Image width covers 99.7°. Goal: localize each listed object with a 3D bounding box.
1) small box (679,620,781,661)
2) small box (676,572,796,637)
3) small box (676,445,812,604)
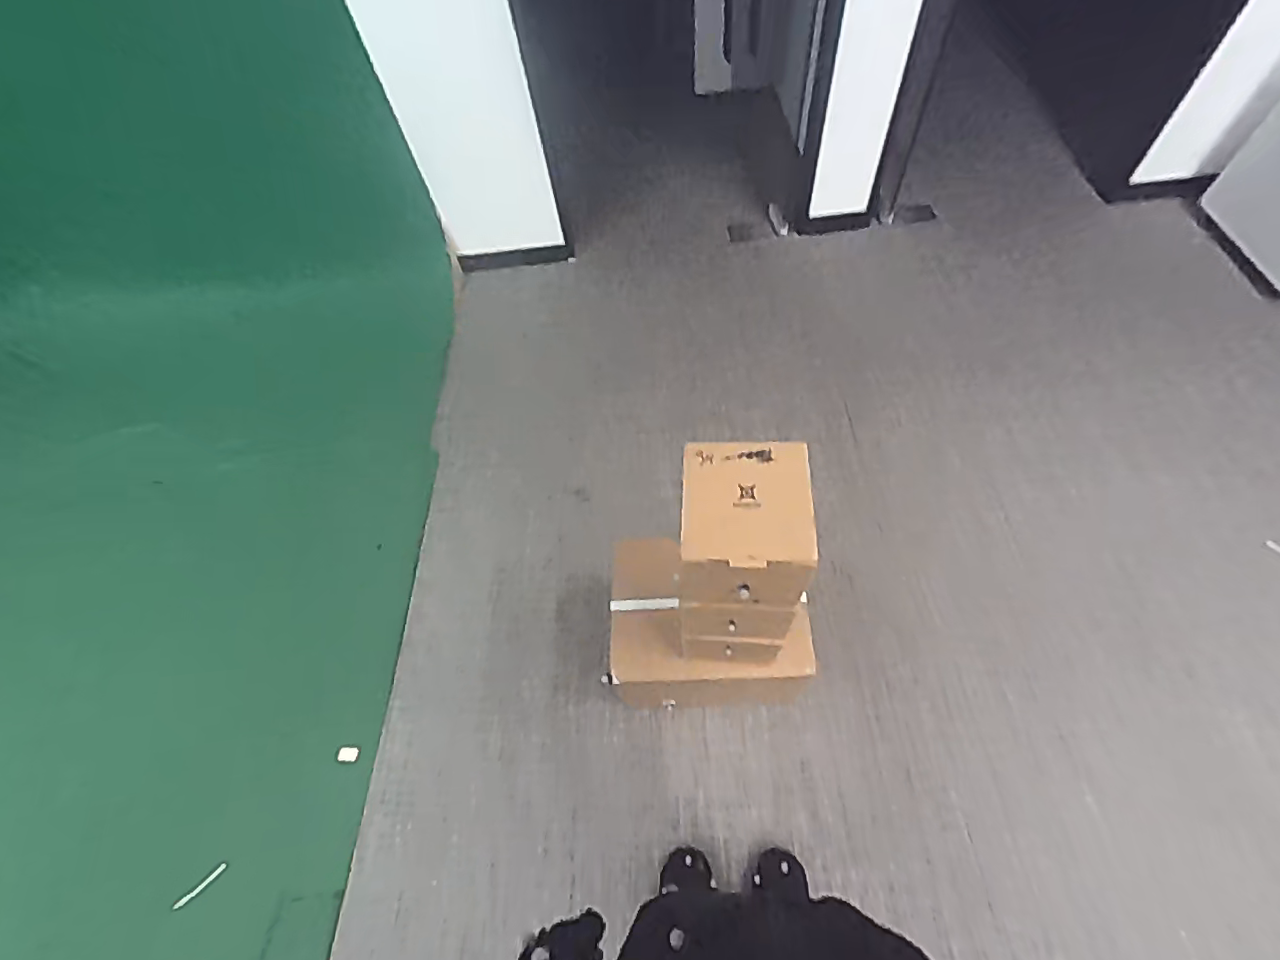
[{"bbox_3d":[0.169,0.244,1.037,0.179,0.176,0.168,2,61,6],"label":"small box"},{"bbox_3d":[0.155,0.158,0.899,0.179,0.176,0.168,0,60,9],"label":"small box"},{"bbox_3d":[0.142,0.068,0.762,0.168,0.176,0.179,1,61,7],"label":"small box"}]
